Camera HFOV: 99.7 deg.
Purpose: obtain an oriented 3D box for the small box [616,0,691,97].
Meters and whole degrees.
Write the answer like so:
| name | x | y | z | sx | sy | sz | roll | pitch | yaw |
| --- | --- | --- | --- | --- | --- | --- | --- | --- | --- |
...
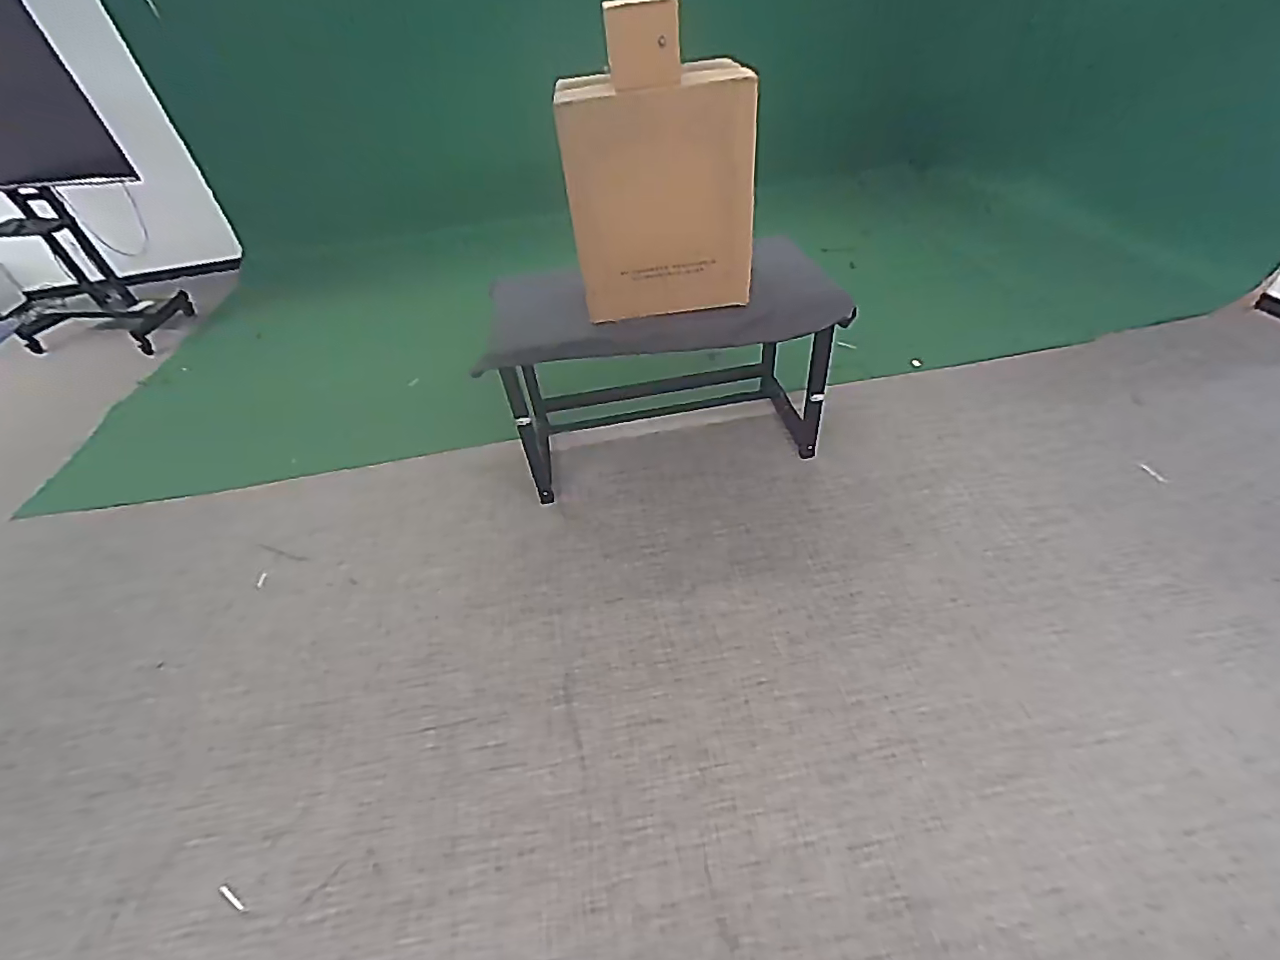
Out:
| name | x | y | z | sx | sy | sz | roll | pitch | yaw |
| --- | --- | --- | --- | --- | --- | --- | --- | --- | --- |
| small box | 0.037 | -1.126 | 1.411 | 0.179 | 0.176 | 0.168 | -8 | 44 | 1 |
